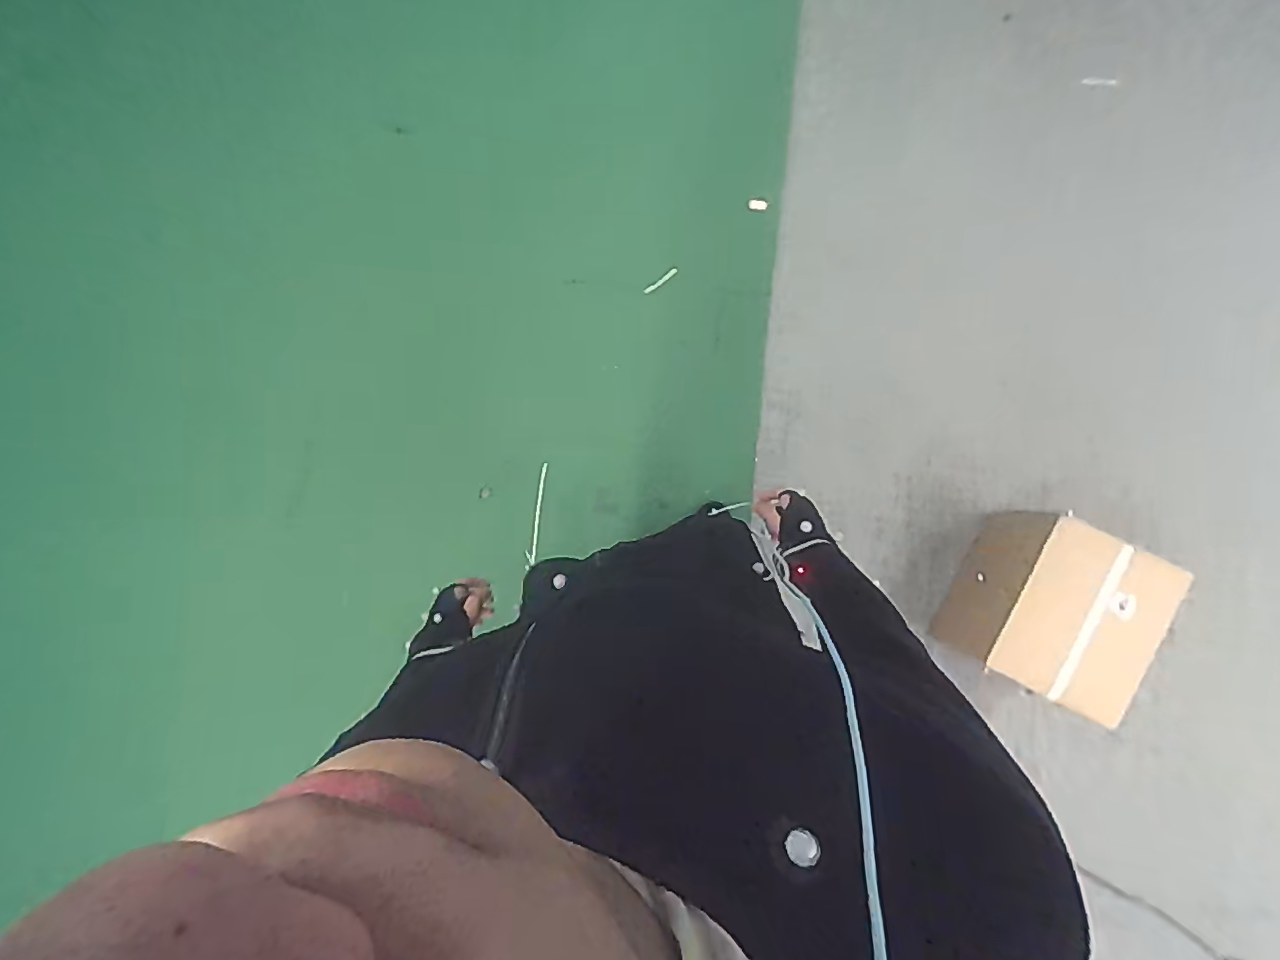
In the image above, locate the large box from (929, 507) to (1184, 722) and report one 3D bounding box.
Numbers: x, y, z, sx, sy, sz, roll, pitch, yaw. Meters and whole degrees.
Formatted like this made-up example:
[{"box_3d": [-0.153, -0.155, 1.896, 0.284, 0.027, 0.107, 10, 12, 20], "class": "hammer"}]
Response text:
[{"box_3d": [1.024, 0.316, 1.382, 0.320, 0.320, 0.408, 27, 89, 6], "class": "large box"}]
